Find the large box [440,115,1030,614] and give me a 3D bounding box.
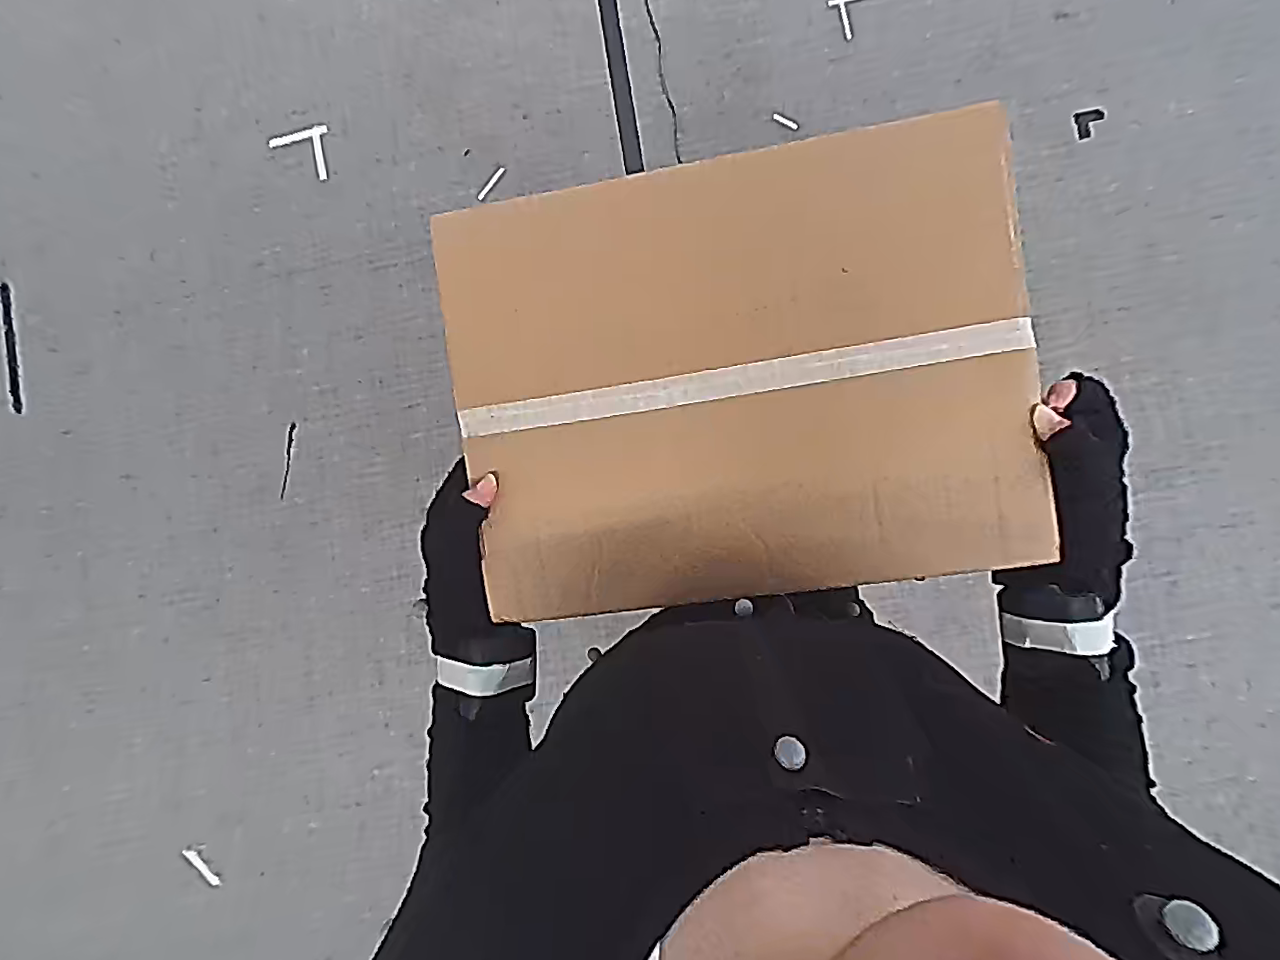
[{"bbox_3d":[0.078,-0.081,0.546,0.408,0.320,0.320,-8,91,7],"label":"large box"}]
